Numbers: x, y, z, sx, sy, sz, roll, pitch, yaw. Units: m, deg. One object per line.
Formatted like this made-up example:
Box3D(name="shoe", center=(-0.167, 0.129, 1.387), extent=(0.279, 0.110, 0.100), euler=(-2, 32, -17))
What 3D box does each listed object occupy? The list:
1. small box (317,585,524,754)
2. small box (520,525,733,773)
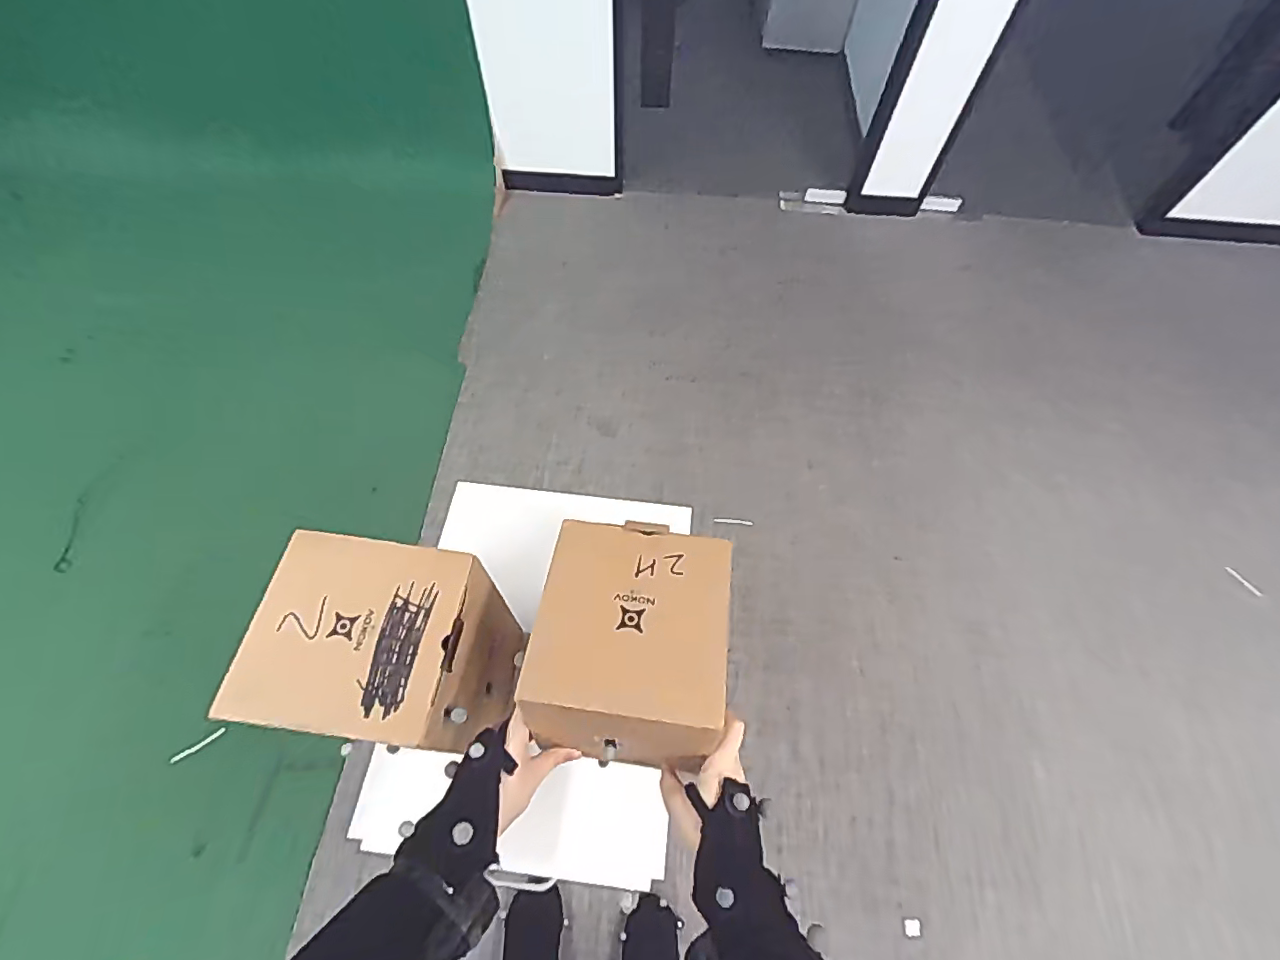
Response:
Box3D(name="small box", center=(-0.259, 0.248, 0.689), extent=(0.179, 0.176, 0.168), euler=(8, 62, 0))
Box3D(name="small box", center=(-0.006, 0.171, 0.536), extent=(0.168, 0.176, 0.179), euler=(8, 51, 3))
